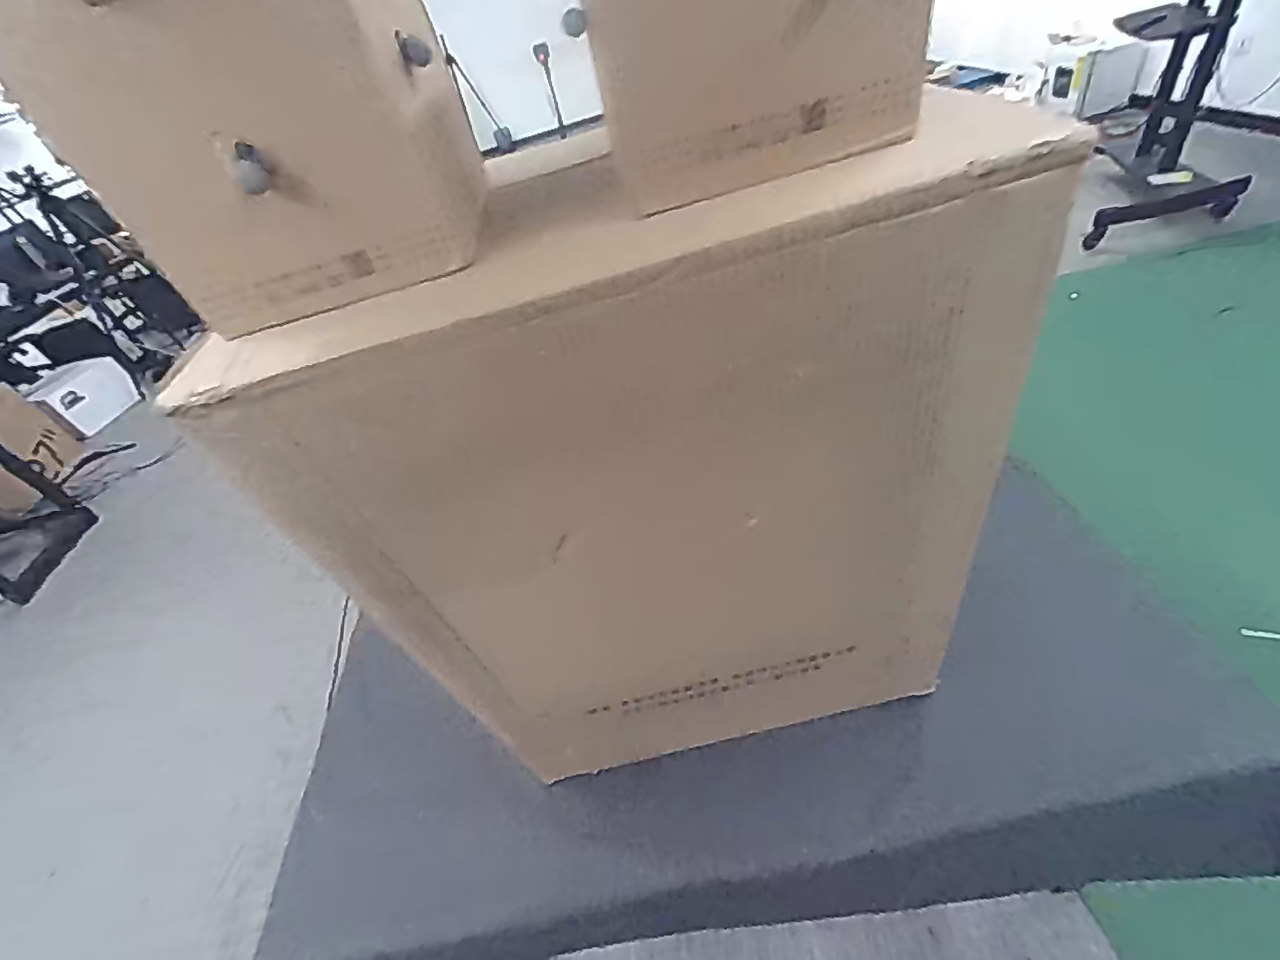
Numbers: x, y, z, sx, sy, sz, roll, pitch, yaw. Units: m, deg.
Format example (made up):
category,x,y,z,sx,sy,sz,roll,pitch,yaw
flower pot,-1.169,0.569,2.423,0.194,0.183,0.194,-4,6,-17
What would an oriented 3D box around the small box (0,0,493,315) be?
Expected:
category,x,y,z,sx,sy,sz,roll,pitch,yaw
small box,-0.203,-0.222,0.337,0.168,0.176,0.179,-14,45,3
